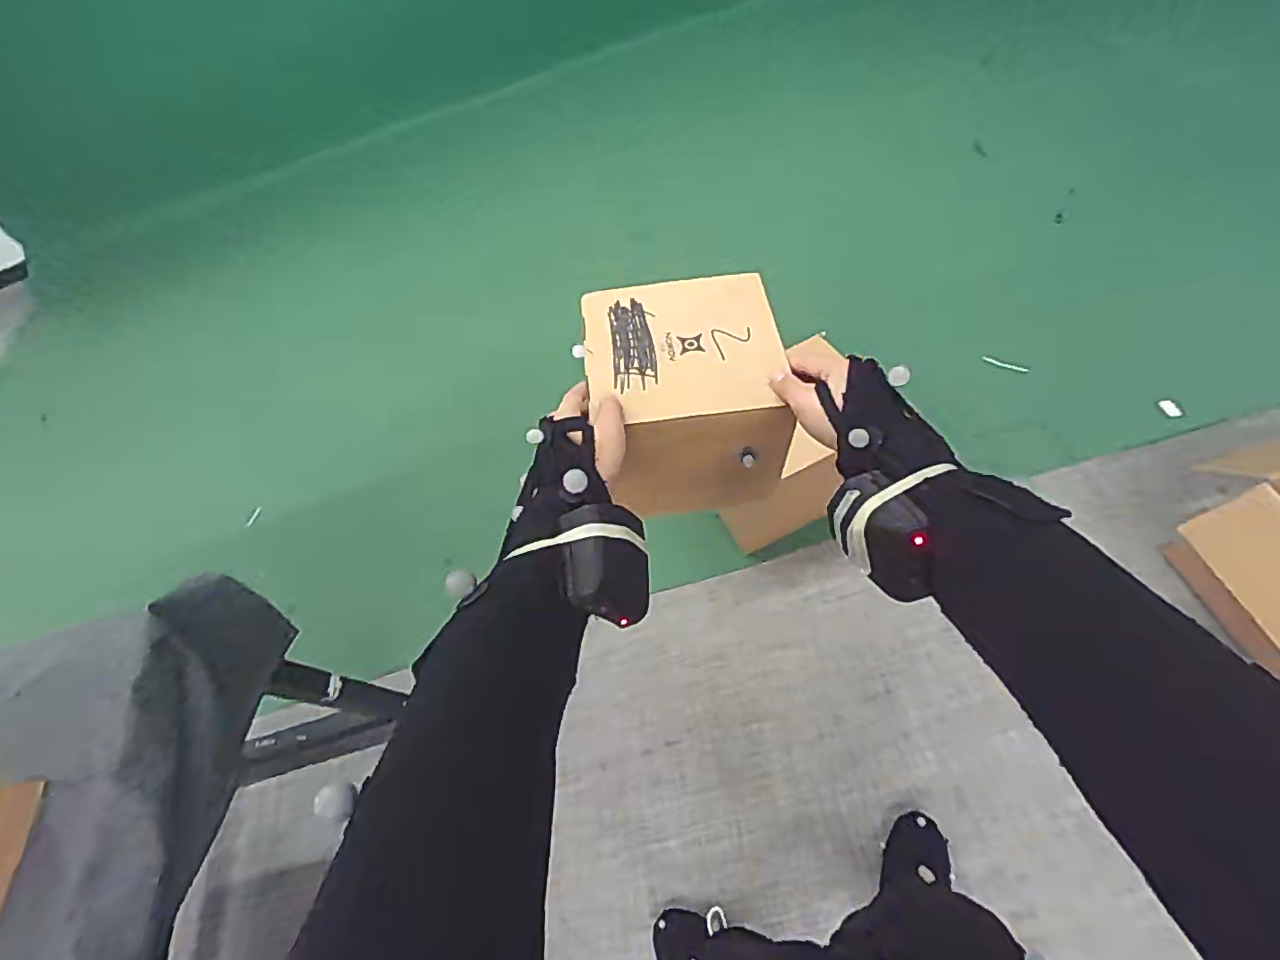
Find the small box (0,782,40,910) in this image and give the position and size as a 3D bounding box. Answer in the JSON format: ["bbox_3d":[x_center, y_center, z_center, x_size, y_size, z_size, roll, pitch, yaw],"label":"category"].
[{"bbox_3d":[-0.825,0.433,0.577,0.168,0.176,0.179,-16,57,5],"label":"small box"}]
